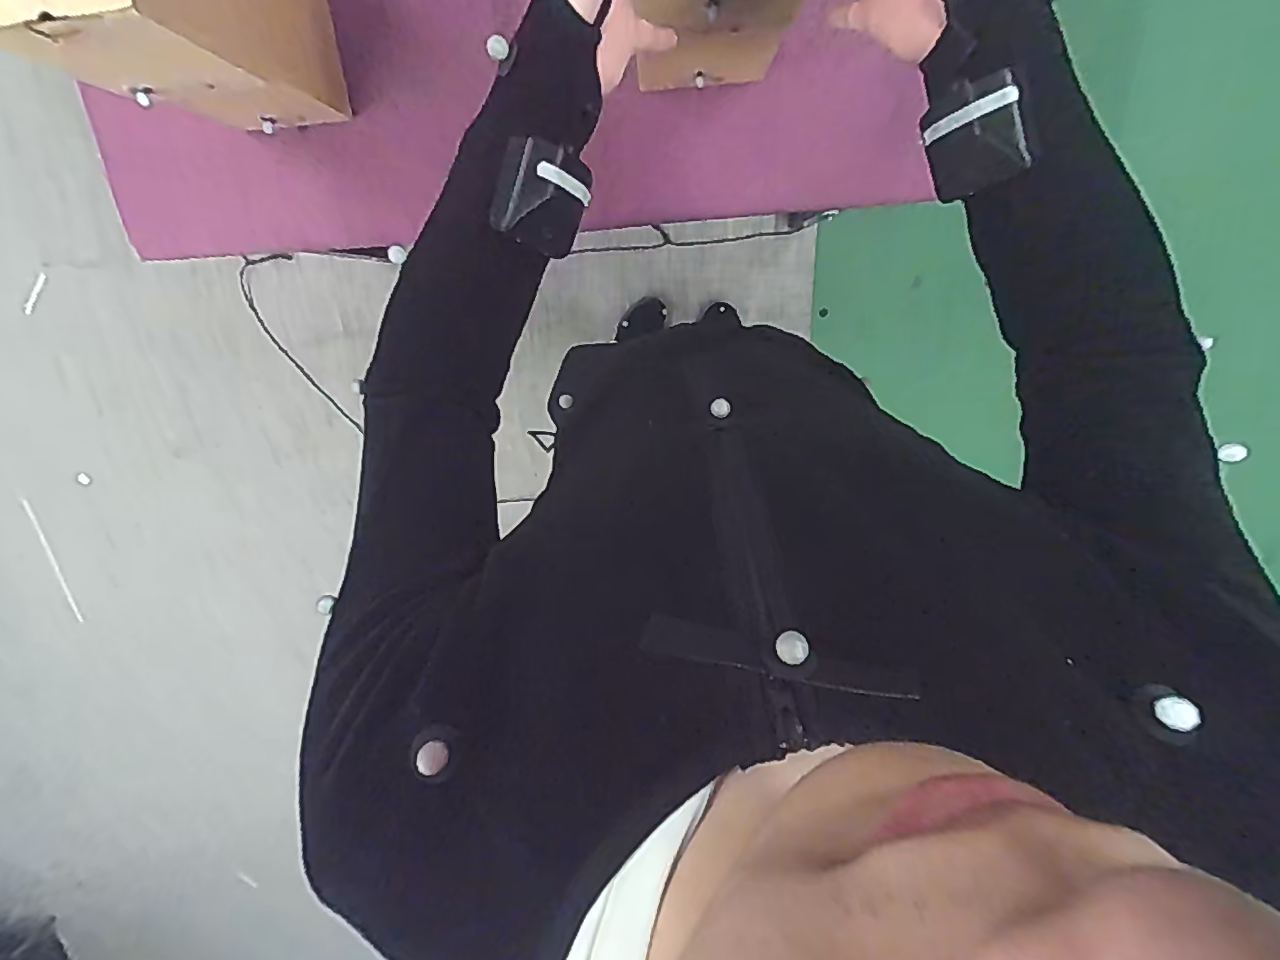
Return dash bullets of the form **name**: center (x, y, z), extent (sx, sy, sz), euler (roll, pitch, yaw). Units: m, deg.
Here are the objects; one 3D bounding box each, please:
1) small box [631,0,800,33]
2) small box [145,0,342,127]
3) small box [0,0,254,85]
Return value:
- **small box**: center (0.068, -0.514, 0.455), extent (0.168, 0.176, 0.179), euler (-3, 109, 2)
- **small box**: center (-0.488, -0.544, 0.633), extent (0.168, 0.176, 0.179), euler (-3, 109, 3)
- **small box**: center (-0.493, -0.482, 0.482), extent (0.168, 0.176, 0.179), euler (-3, 107, 3)
